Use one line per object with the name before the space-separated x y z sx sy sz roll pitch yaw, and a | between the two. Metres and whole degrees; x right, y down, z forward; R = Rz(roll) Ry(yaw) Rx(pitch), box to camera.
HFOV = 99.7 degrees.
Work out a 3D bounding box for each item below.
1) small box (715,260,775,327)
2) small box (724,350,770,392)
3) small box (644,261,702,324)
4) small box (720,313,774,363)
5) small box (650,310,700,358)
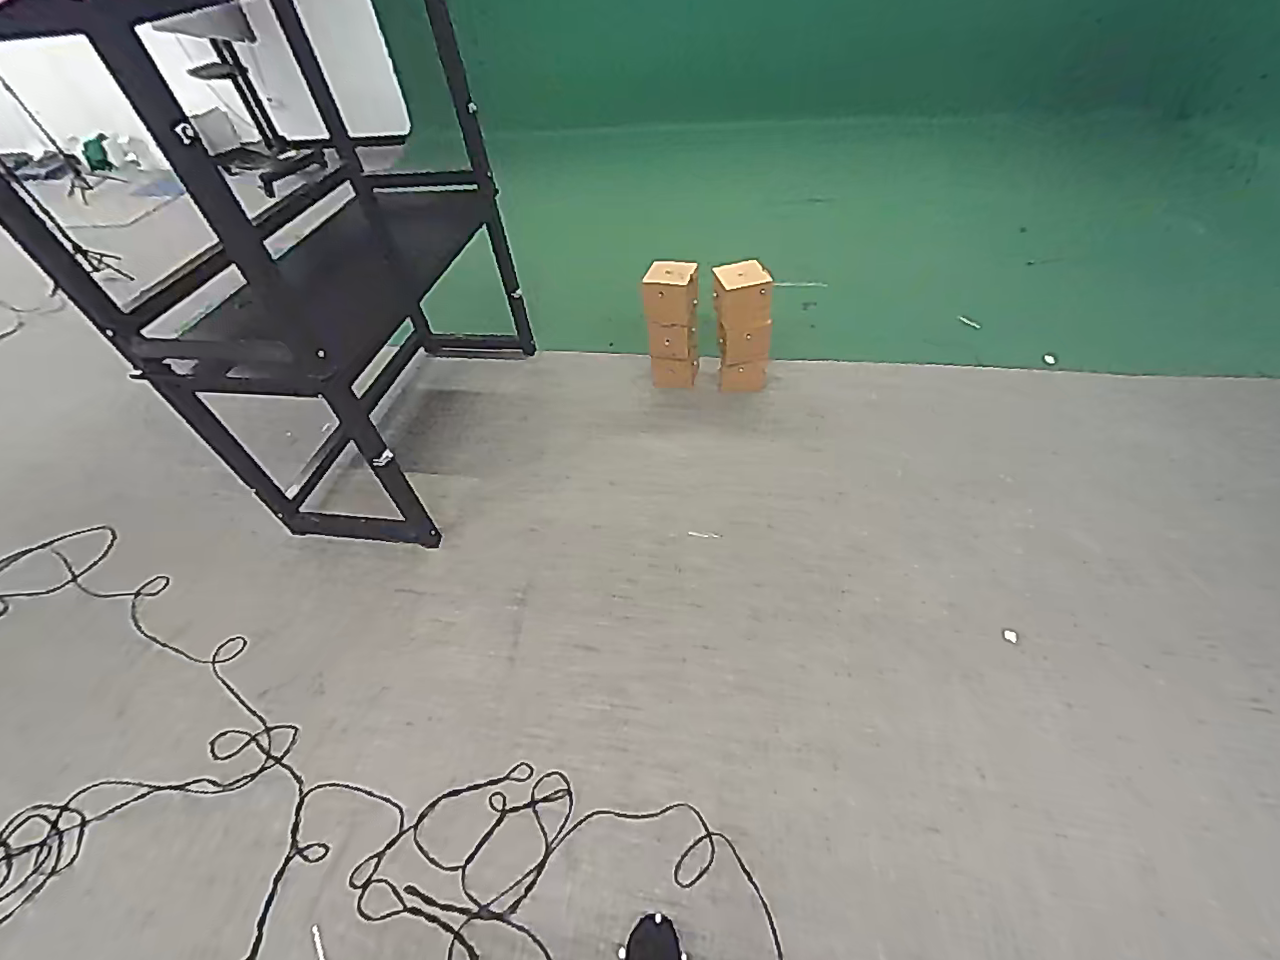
small box | 0.389 -0.695 2.023 0.179 0.176 0.168 -13 50 -6
small box | 0.442 -0.484 2.266 0.179 0.176 0.168 0 49 6
small box | 0.130 -0.716 2.067 0.179 0.176 0.168 12 51 17
small box | 0.418 -0.583 2.140 0.179 0.176 0.168 -10 50 -3
small box | 0.148 -0.615 2.198 0.168 0.176 0.179 9 51 15
